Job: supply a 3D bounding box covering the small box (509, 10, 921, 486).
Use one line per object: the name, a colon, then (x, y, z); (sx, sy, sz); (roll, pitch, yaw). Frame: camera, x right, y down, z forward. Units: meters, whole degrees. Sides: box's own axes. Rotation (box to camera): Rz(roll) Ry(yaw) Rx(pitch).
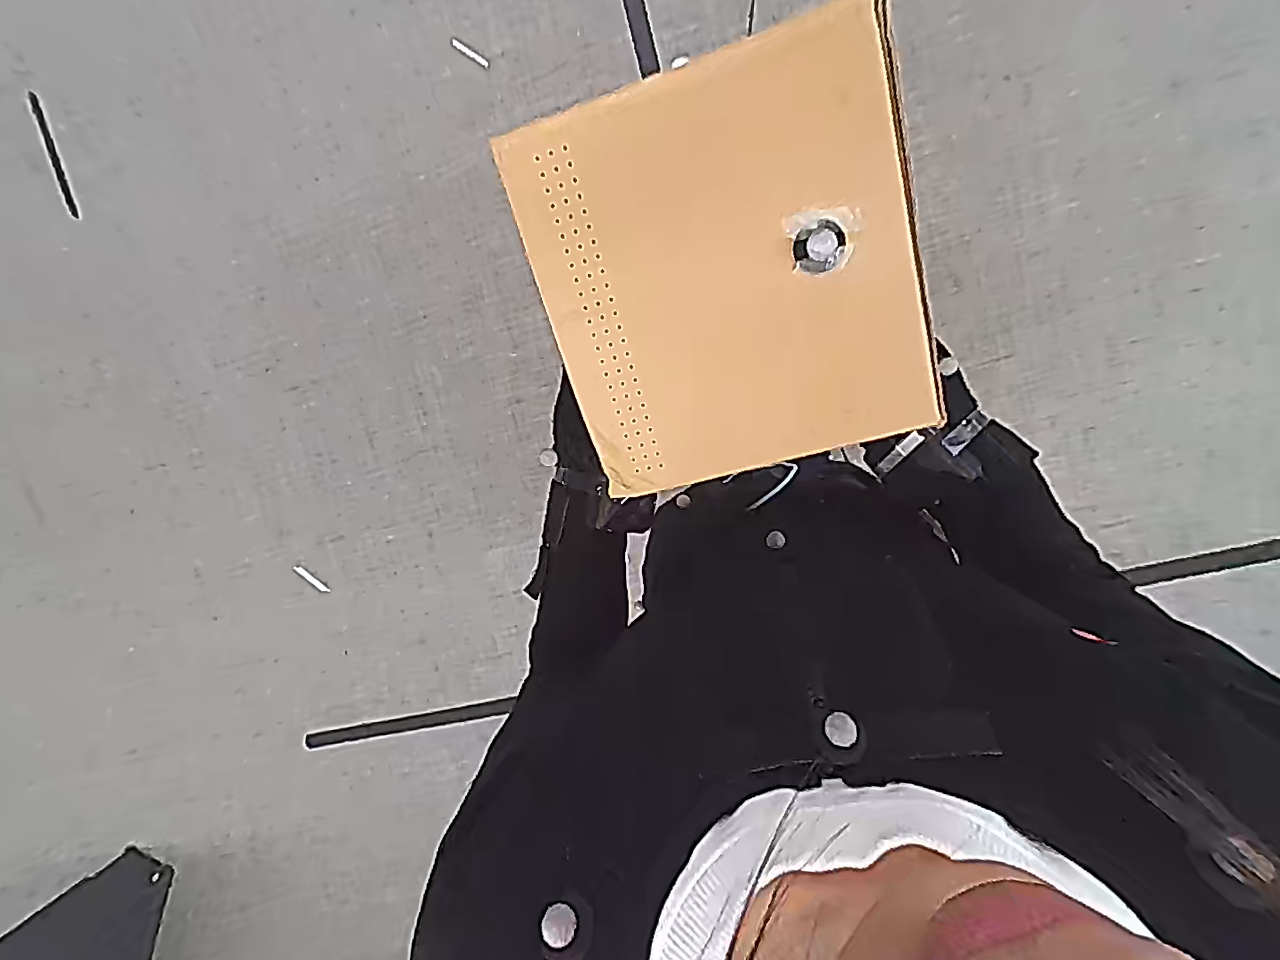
small box: (0.042, -0.116, 0.329); (0.176, 0.168, 0.179); (-13, 107, 12)
